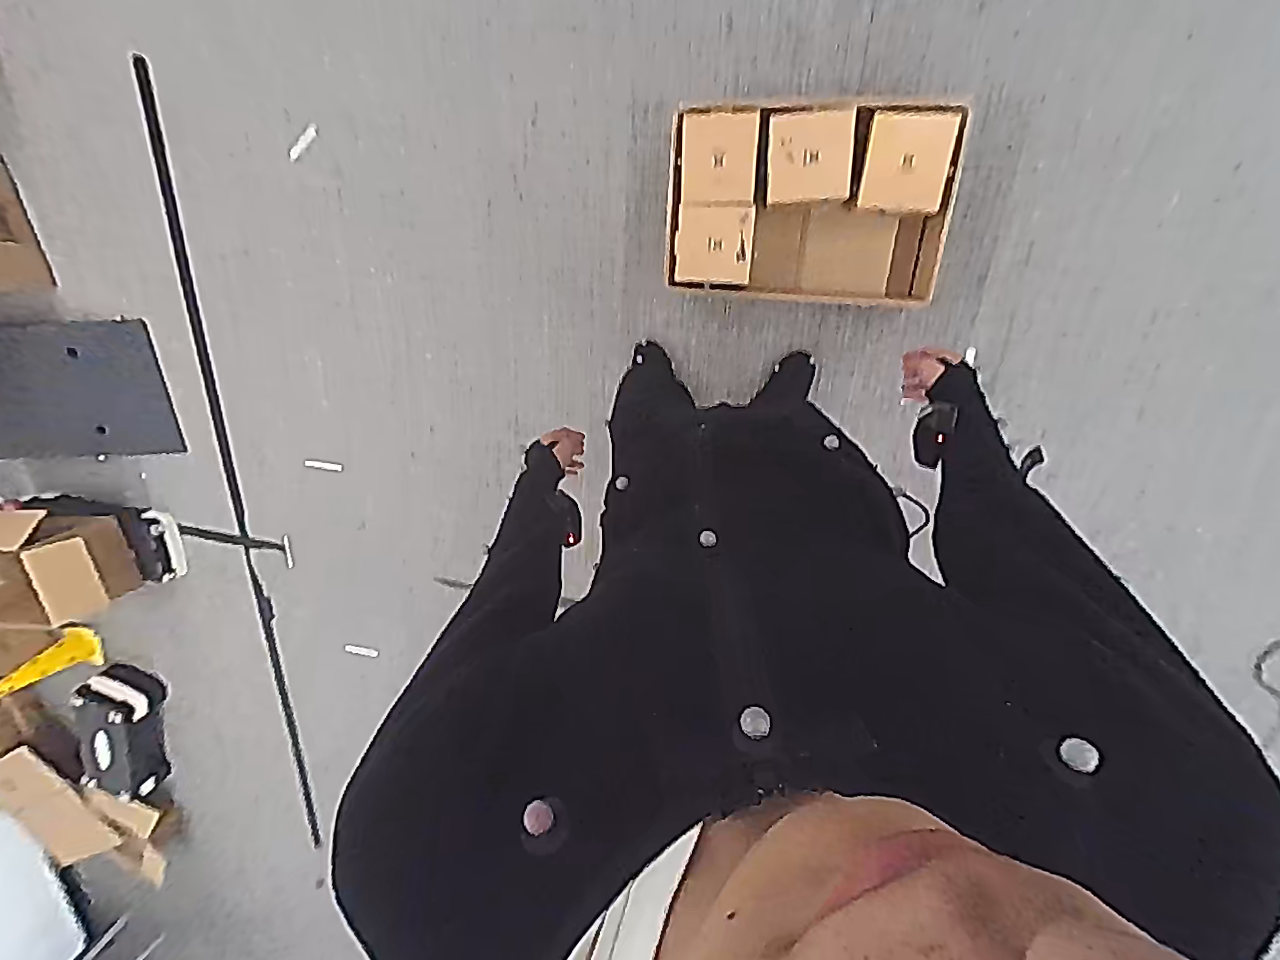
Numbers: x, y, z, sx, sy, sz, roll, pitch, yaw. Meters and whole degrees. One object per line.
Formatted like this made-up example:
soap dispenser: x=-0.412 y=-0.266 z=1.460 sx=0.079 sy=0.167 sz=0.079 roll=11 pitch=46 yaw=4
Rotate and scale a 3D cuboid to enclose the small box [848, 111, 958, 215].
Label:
small box: x=0.565 y=-0.688 z=1.187 sx=0.168 sy=0.176 sz=0.179 roll=8 pitch=114 yaw=11
